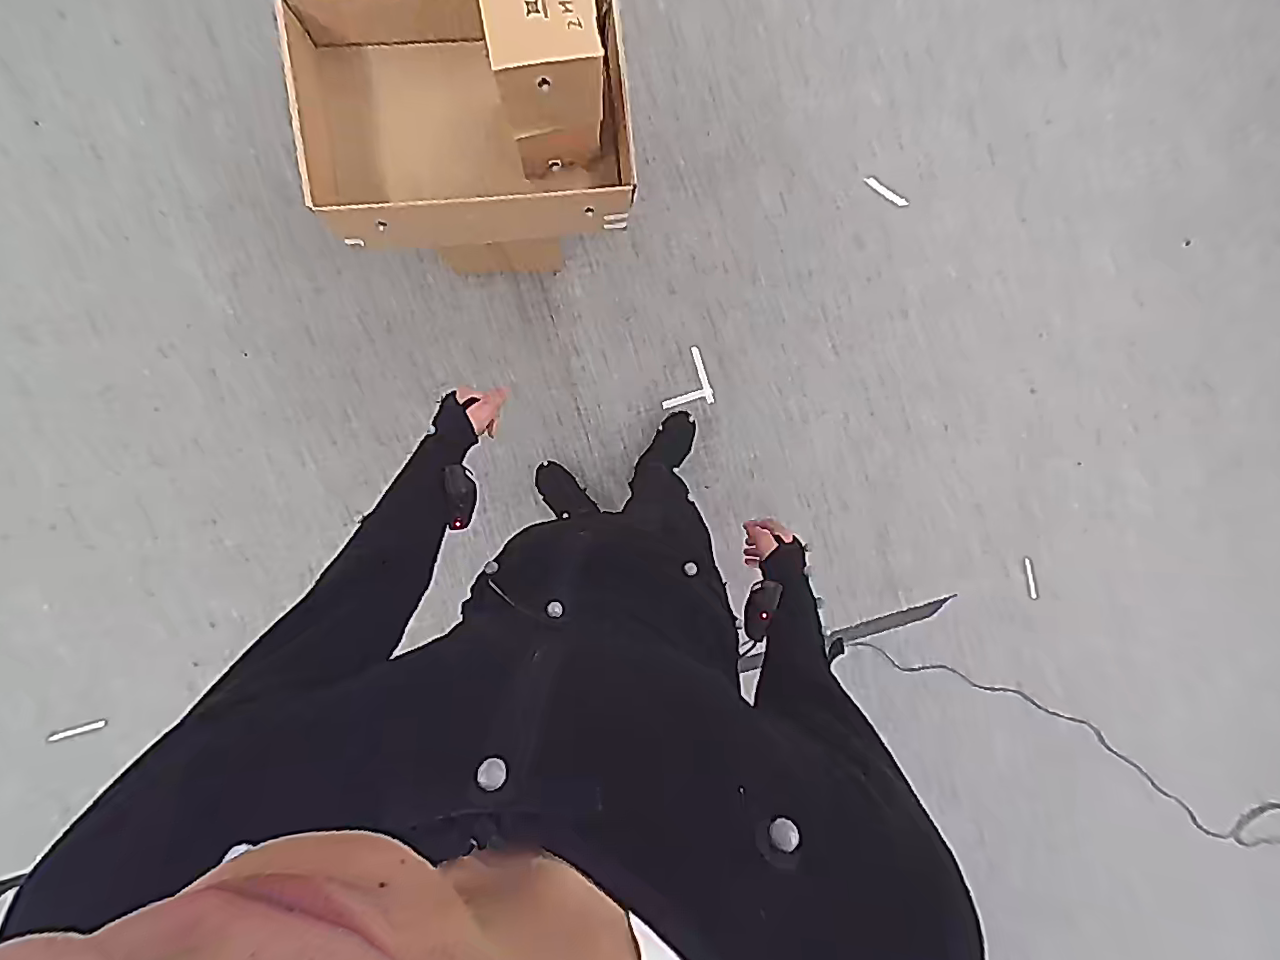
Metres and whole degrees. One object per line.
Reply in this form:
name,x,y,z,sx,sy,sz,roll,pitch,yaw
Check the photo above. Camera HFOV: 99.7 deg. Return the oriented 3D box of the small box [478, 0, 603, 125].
small box,-0.159,-0.721,0.894,0.179,0.176,0.168,-10,95,-3
